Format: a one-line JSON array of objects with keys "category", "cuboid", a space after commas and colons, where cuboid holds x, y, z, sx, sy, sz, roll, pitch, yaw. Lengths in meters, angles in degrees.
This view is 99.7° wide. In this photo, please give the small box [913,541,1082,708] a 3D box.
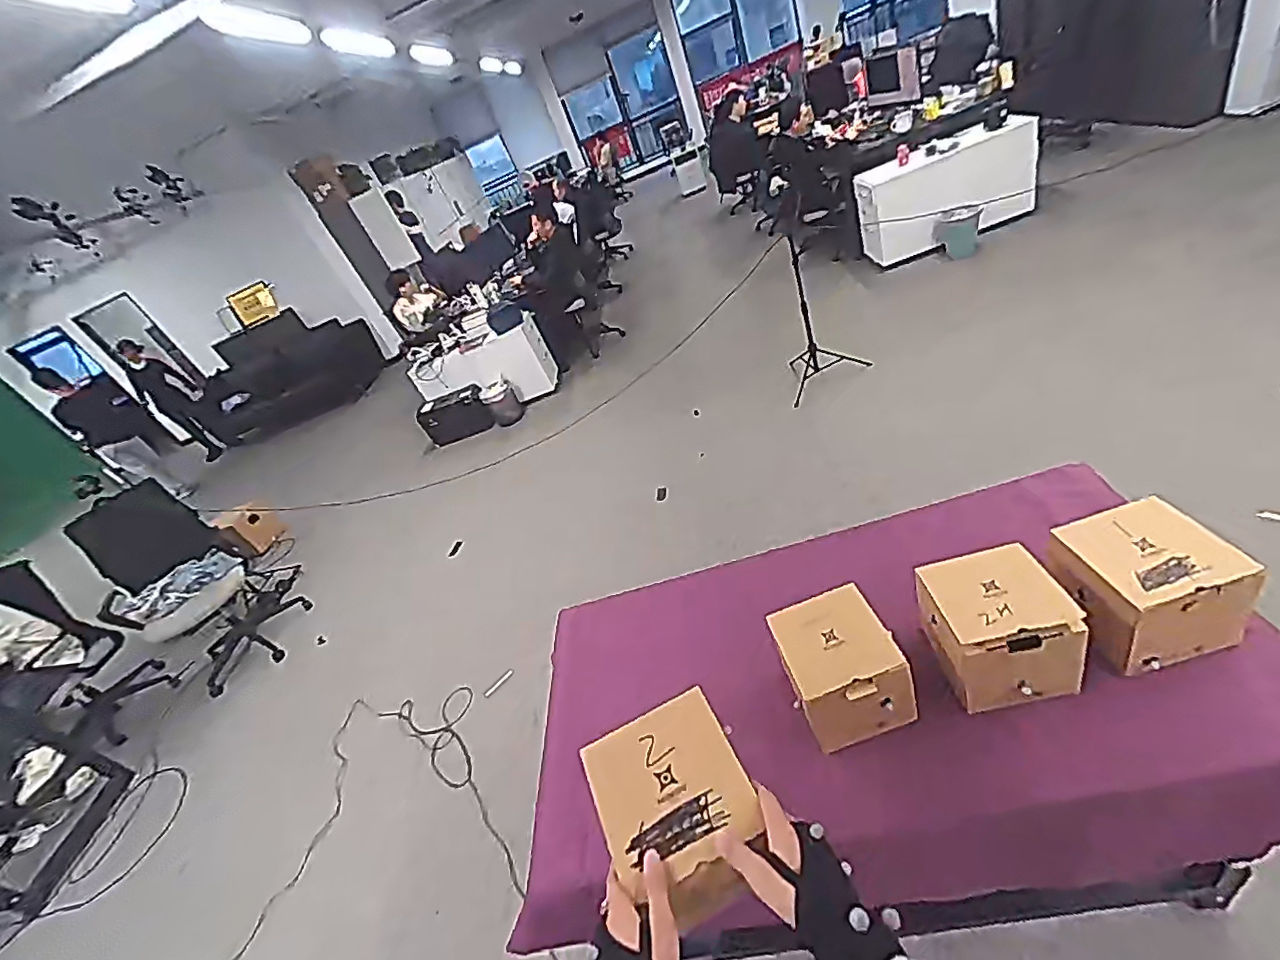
[{"category": "small box", "cuboid": [0.564, 0.233, 0.872, 0.168, 0.176, 0.179, -18, 35, 13]}]

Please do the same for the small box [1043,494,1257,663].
[{"category": "small box", "cuboid": [0.768, 0.158, 0.839, 0.168, 0.176, 0.179, -21, 33, 8]}]

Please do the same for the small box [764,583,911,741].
[{"category": "small box", "cuboid": [0.335, 0.314, 0.918, 0.168, 0.176, 0.179, -23, 33, 4]}]
